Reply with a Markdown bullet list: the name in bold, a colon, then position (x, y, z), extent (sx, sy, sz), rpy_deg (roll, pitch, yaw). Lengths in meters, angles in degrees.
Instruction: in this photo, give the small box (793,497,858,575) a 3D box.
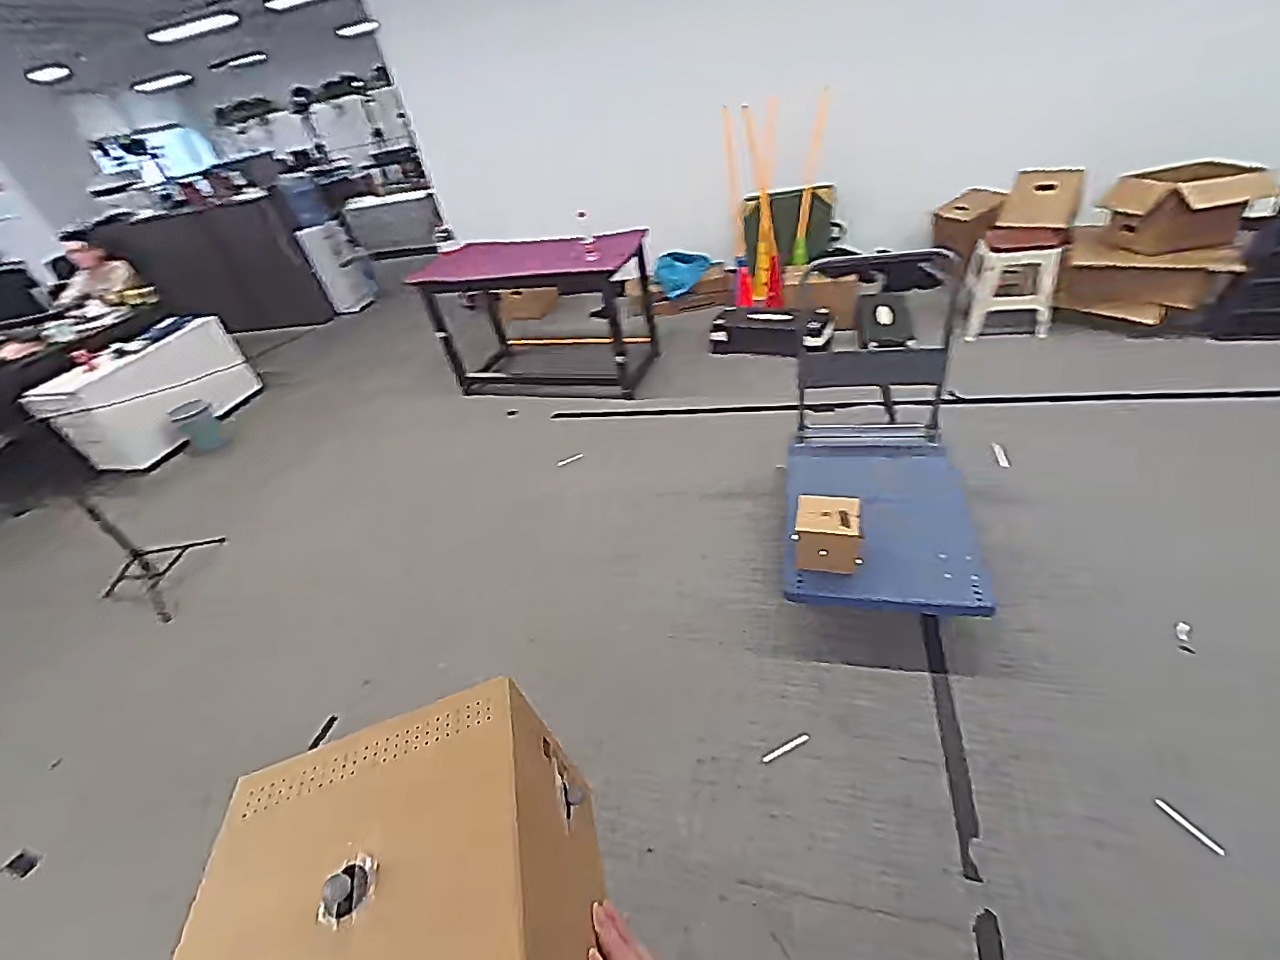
- **small box**: position (0.572, 0.175, 1.668), extent (0.179, 0.176, 0.168), rpy_deg (4, 40, 20)
